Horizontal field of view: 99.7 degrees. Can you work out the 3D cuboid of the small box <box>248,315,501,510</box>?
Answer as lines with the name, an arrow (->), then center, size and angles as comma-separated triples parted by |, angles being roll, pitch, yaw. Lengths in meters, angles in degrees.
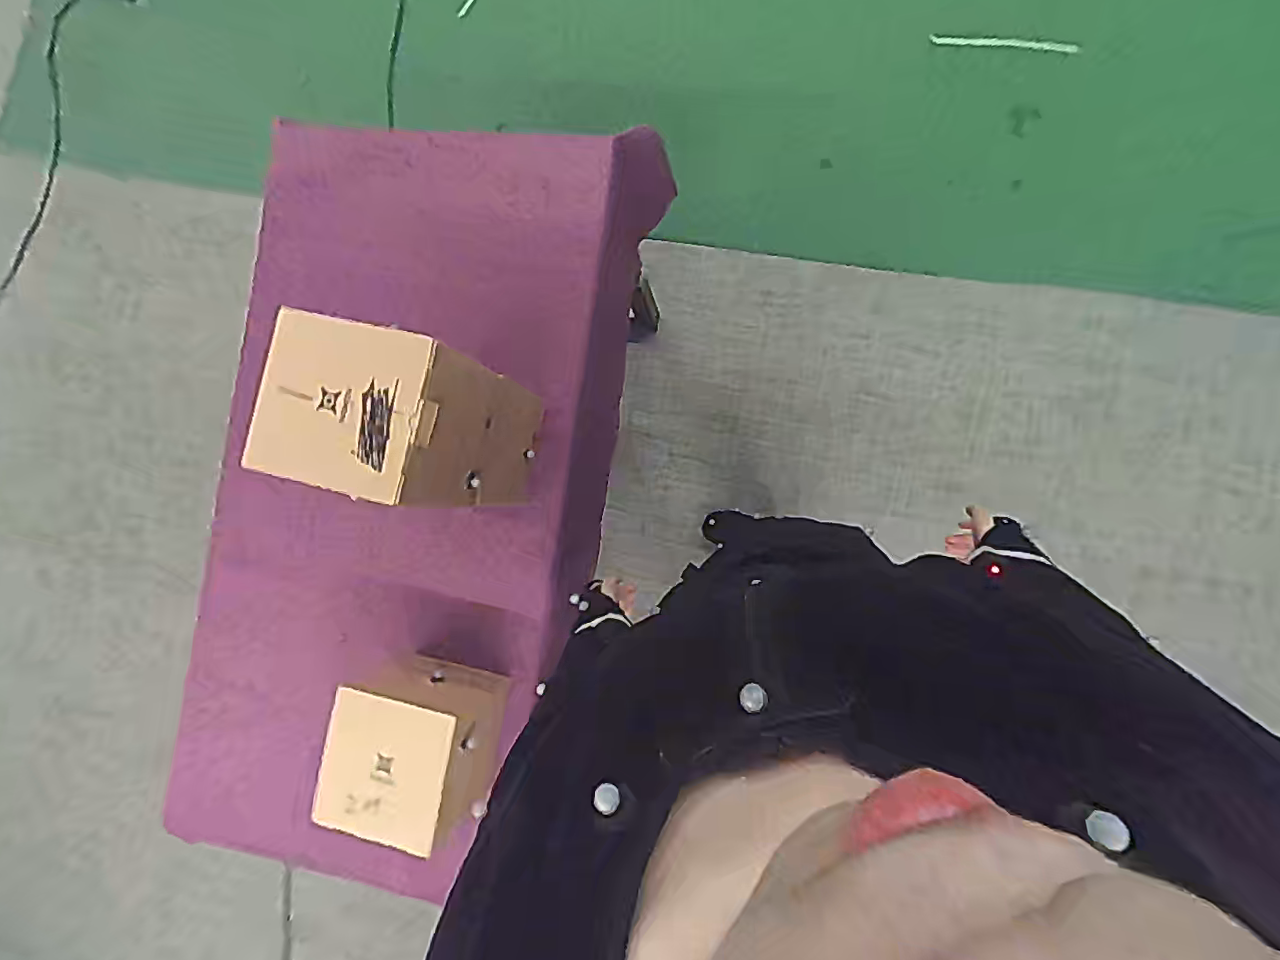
small box -> -0.280, -0.066, 0.609 | 0.179, 0.176, 0.168 | 13, 88, 11

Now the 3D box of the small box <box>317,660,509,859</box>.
small box -> -0.299, 0.366, 0.749 | 0.168, 0.176, 0.179 | 10, 88, 11
